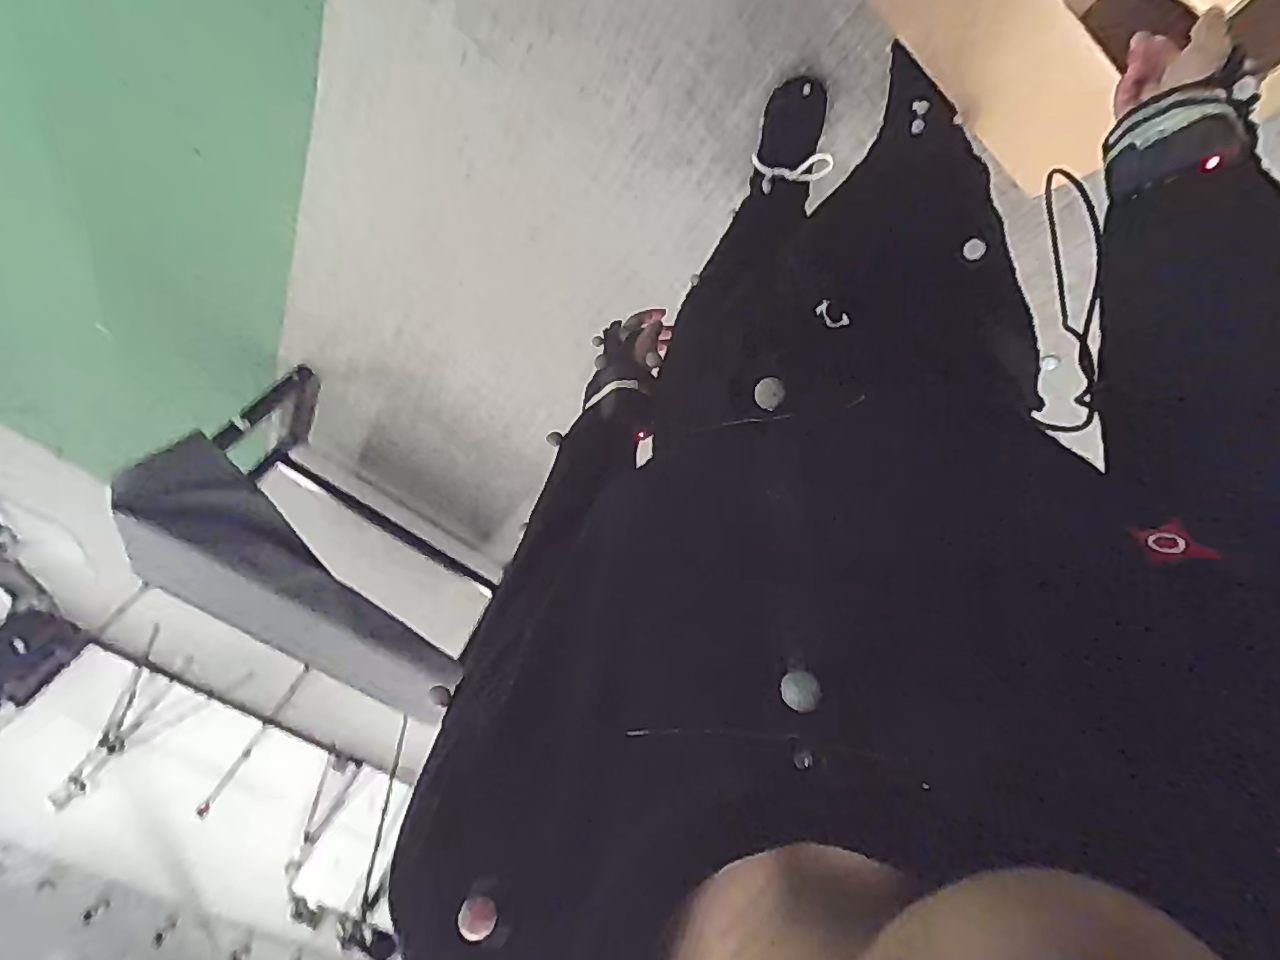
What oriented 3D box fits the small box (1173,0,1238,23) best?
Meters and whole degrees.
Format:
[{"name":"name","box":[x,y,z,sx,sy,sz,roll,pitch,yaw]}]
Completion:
[{"name":"small box","box":[0.477,-0.522,0.426,0.168,0.176,0.179,31,140,-11]}]
